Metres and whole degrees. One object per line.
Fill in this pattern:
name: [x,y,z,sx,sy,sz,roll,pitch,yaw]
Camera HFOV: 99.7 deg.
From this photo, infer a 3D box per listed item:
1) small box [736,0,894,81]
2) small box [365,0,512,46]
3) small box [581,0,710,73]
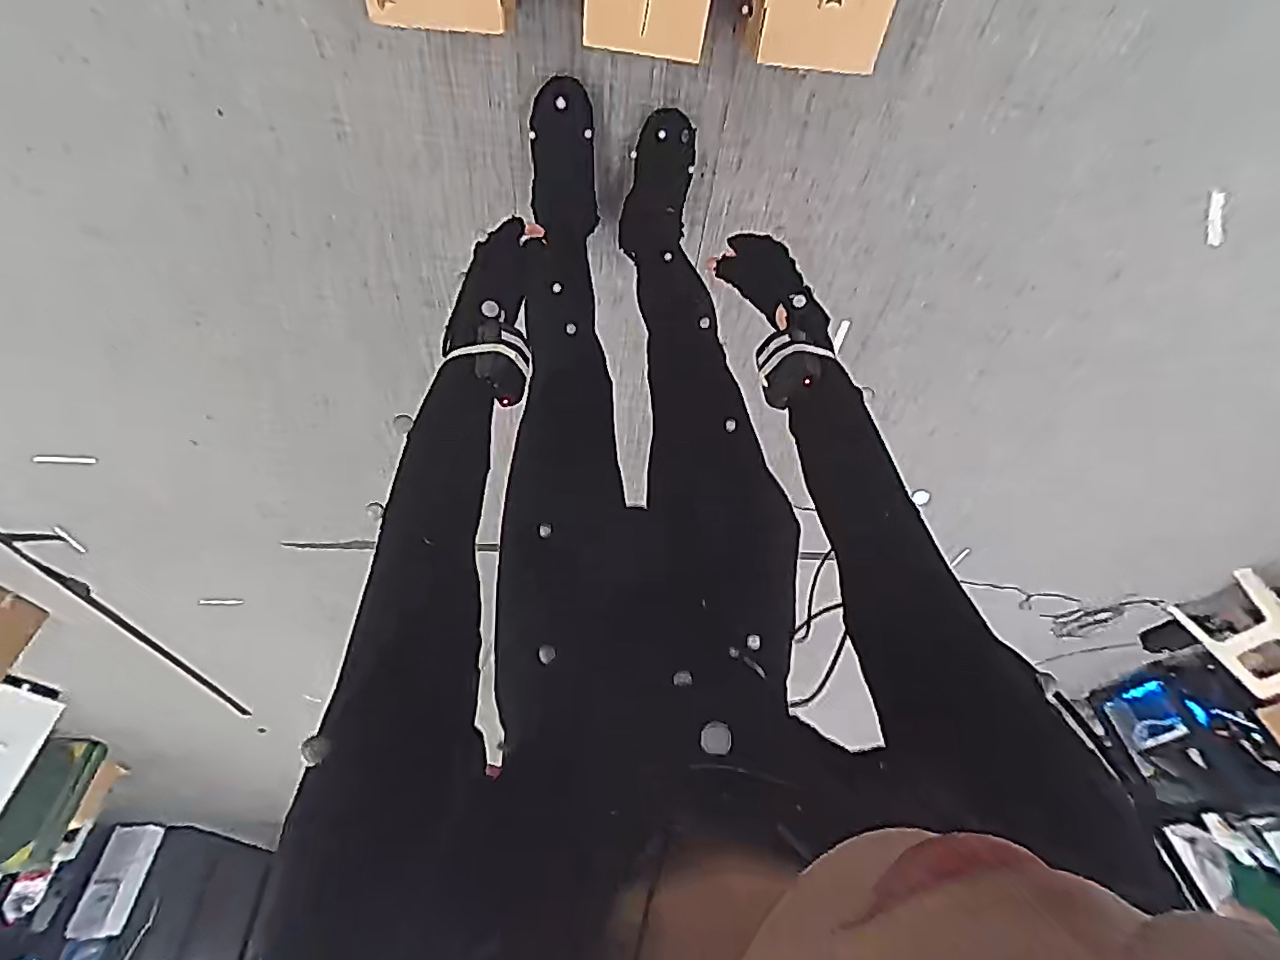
small box: [0.245,-0.692,0.763,0.179,0.176,0.168,0,141,-6]
small box: [-0.265,-0.700,0.711,0.179,0.176,0.168,0,139,-6]
small box: [0.007,-0.695,0.738,0.168,0.176,0.179,3,140,-8]
